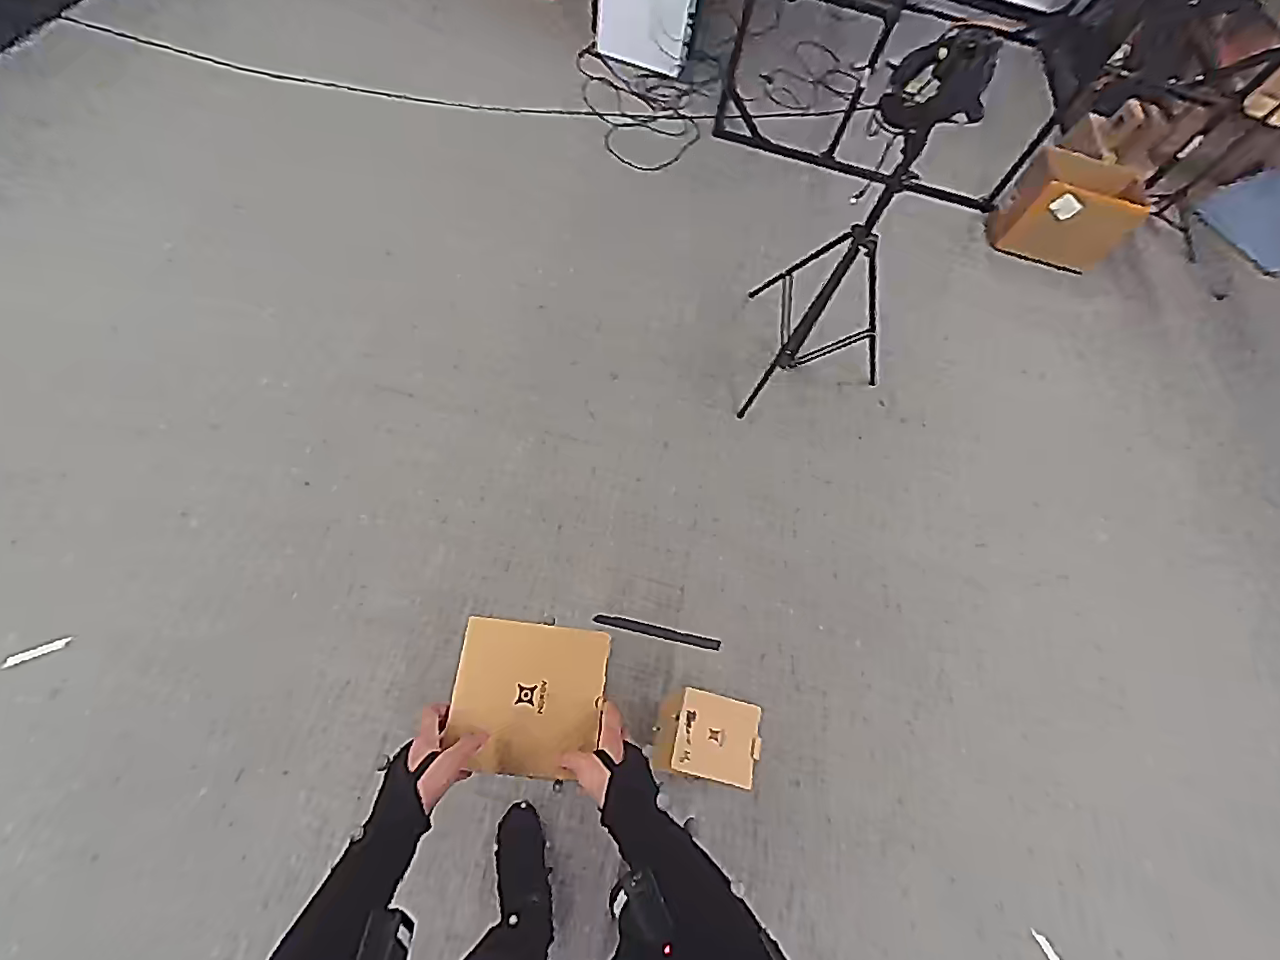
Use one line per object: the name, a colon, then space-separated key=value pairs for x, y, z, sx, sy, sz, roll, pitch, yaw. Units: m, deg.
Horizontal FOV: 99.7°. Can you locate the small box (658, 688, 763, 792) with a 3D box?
small box: x=0.154 y=0.581 z=1.212 sx=0.179 sy=0.176 sz=0.168 roll=17 pitch=61 yaw=-1

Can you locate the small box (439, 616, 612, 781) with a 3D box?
small box: x=-0.139 y=0.283 z=0.700 sx=0.179 sy=0.176 sz=0.168 roll=9 pitch=65 yaw=-7

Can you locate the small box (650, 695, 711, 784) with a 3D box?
small box: x=0.132 y=0.656 z=1.357 sx=0.179 sy=0.176 sz=0.168 roll=16 pitch=62 yaw=-1
